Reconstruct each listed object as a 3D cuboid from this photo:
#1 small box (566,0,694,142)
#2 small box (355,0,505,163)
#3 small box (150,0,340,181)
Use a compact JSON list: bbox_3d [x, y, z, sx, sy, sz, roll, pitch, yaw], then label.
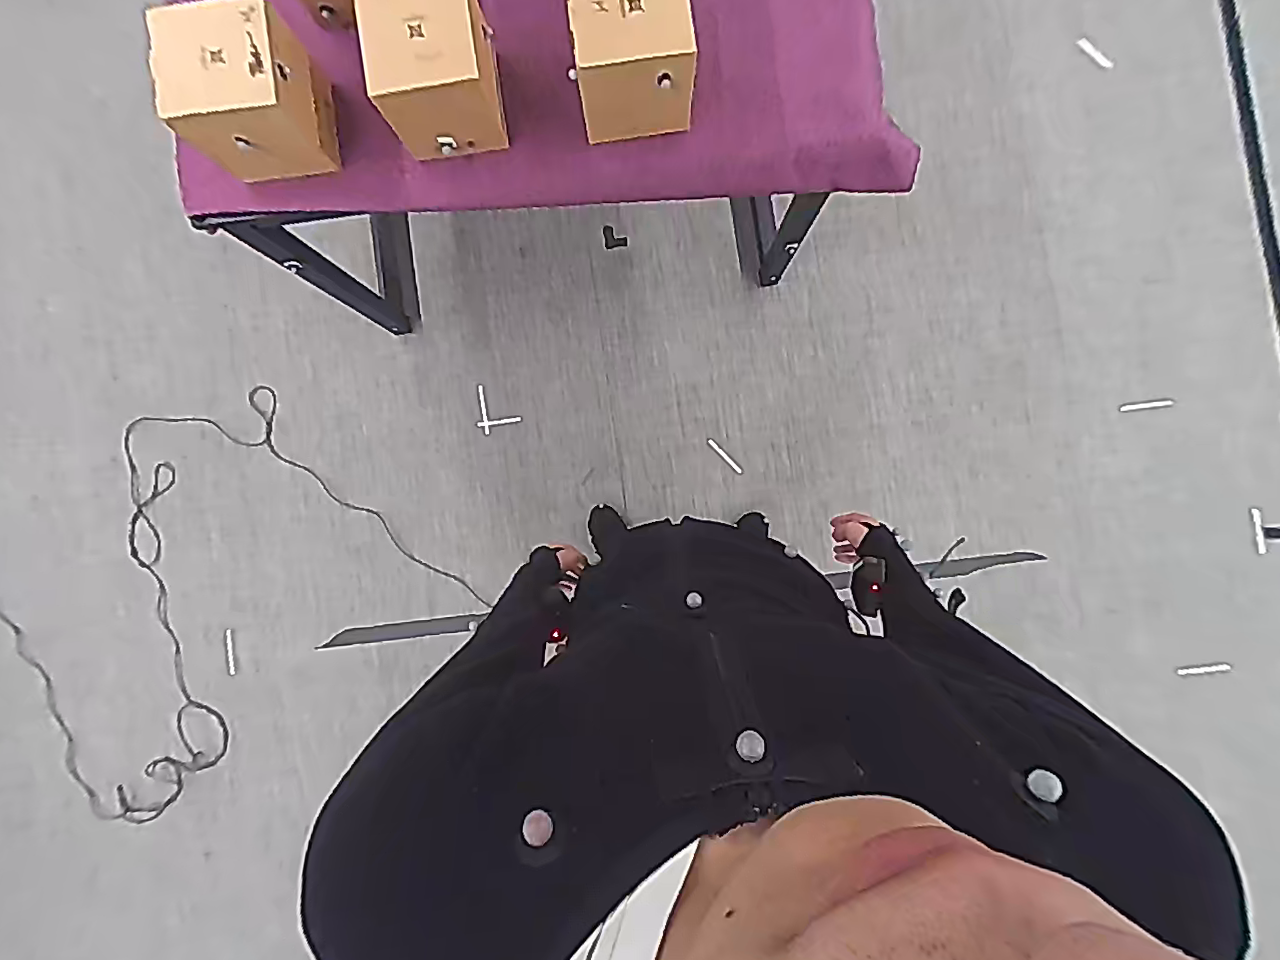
[{"bbox_3d":[-0.017,-0.673,0.853,0.179,0.176,0.168,-8,88,1],"label":"small box"},{"bbox_3d":[-0.324,-0.648,0.862,0.168,0.176,0.179,-8,90,2],"label":"small box"},{"bbox_3d":[-0.618,-0.607,0.863,0.179,0.176,0.168,-7,89,1],"label":"small box"}]
